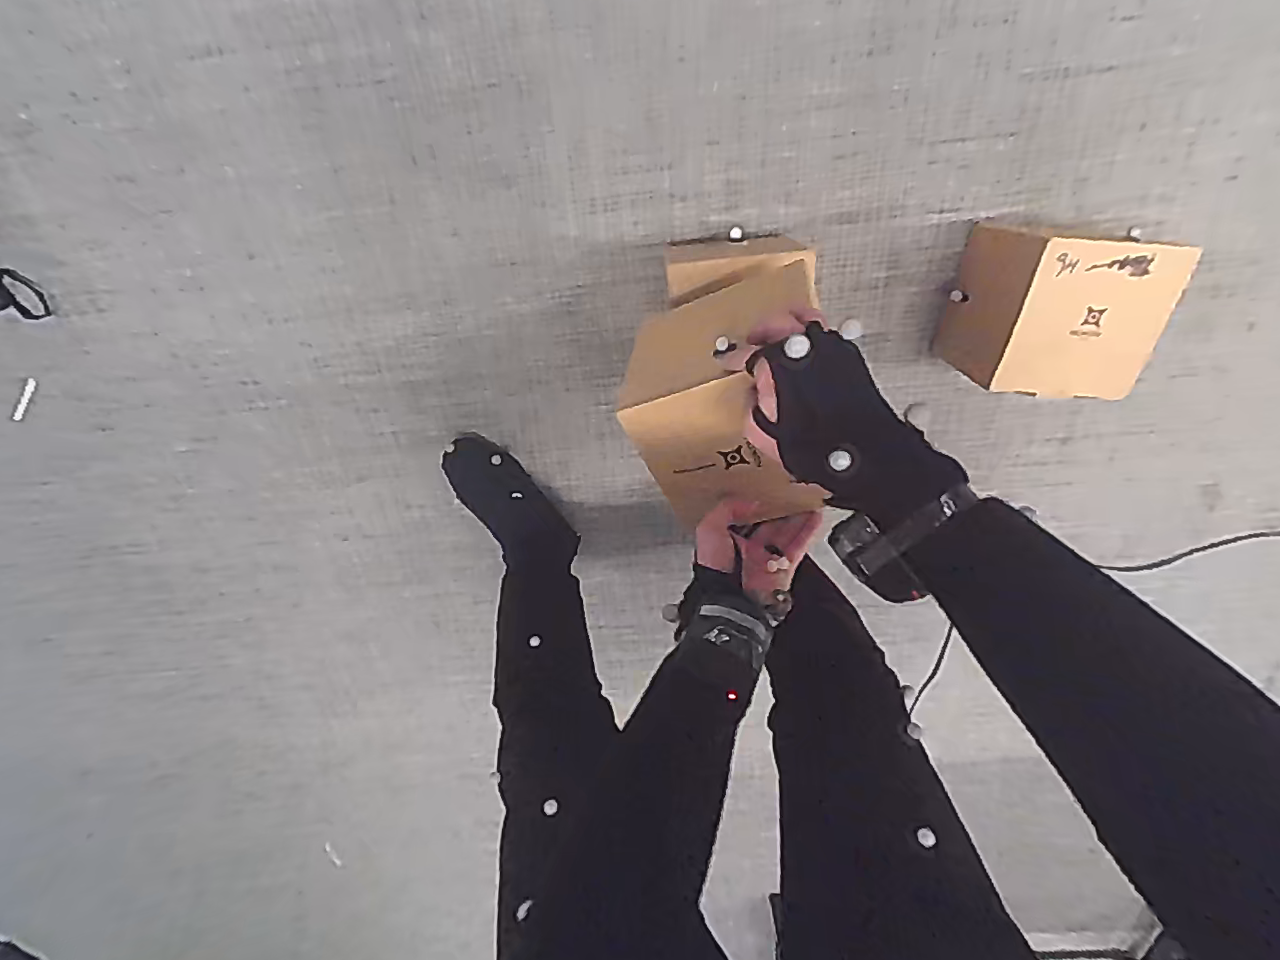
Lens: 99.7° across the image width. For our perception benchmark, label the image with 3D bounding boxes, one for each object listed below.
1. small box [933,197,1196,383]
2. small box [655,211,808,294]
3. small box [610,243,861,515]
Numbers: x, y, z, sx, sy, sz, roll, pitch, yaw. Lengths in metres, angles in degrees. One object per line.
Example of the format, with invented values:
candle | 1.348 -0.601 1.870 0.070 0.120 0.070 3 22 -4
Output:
small box | 0.498 -0.240 0.675 0.168 0.176 0.179 4 123 0
small box | 0.108 -0.234 0.692 0.168 0.176 0.179 -5 121 3
small box | 0.095 -0.096 0.523 0.179 0.176 0.168 -16 130 26
